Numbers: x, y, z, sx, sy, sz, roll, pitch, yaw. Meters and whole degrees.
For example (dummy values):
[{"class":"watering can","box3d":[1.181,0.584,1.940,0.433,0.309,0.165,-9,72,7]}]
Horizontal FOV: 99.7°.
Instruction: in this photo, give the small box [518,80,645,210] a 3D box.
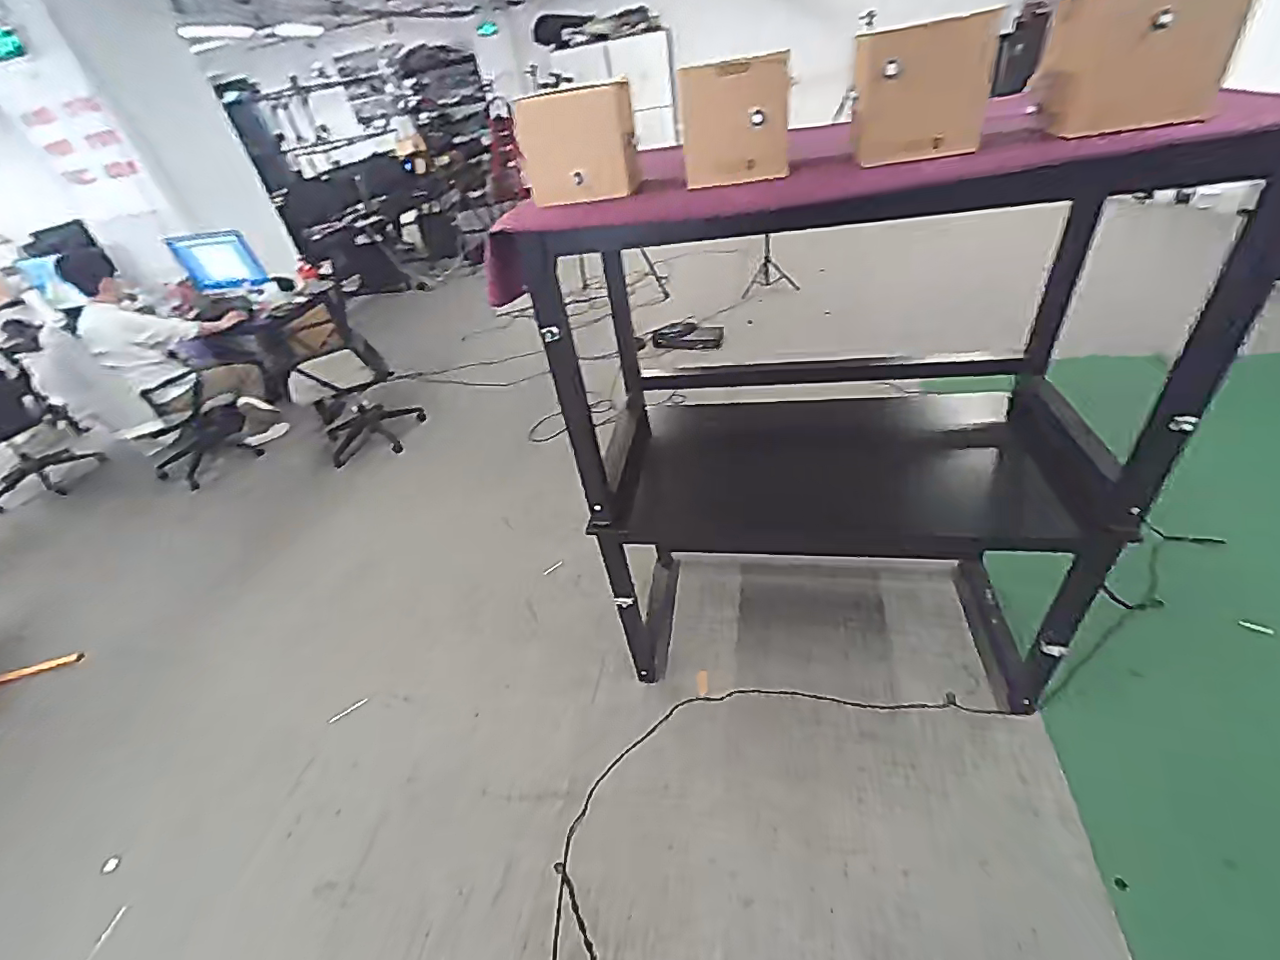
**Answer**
[{"class":"small box","box3d":[-0.092,-0.600,0.971,0.179,0.176,0.168,-1,38,11]}]

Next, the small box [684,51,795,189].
[{"class":"small box","box3d":[0.175,-0.601,0.911,0.168,0.176,0.179,2,38,15]}]

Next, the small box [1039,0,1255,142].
[{"class":"small box","box3d":[0.712,-0.601,0.779,0.179,0.176,0.168,1,37,14]}]
